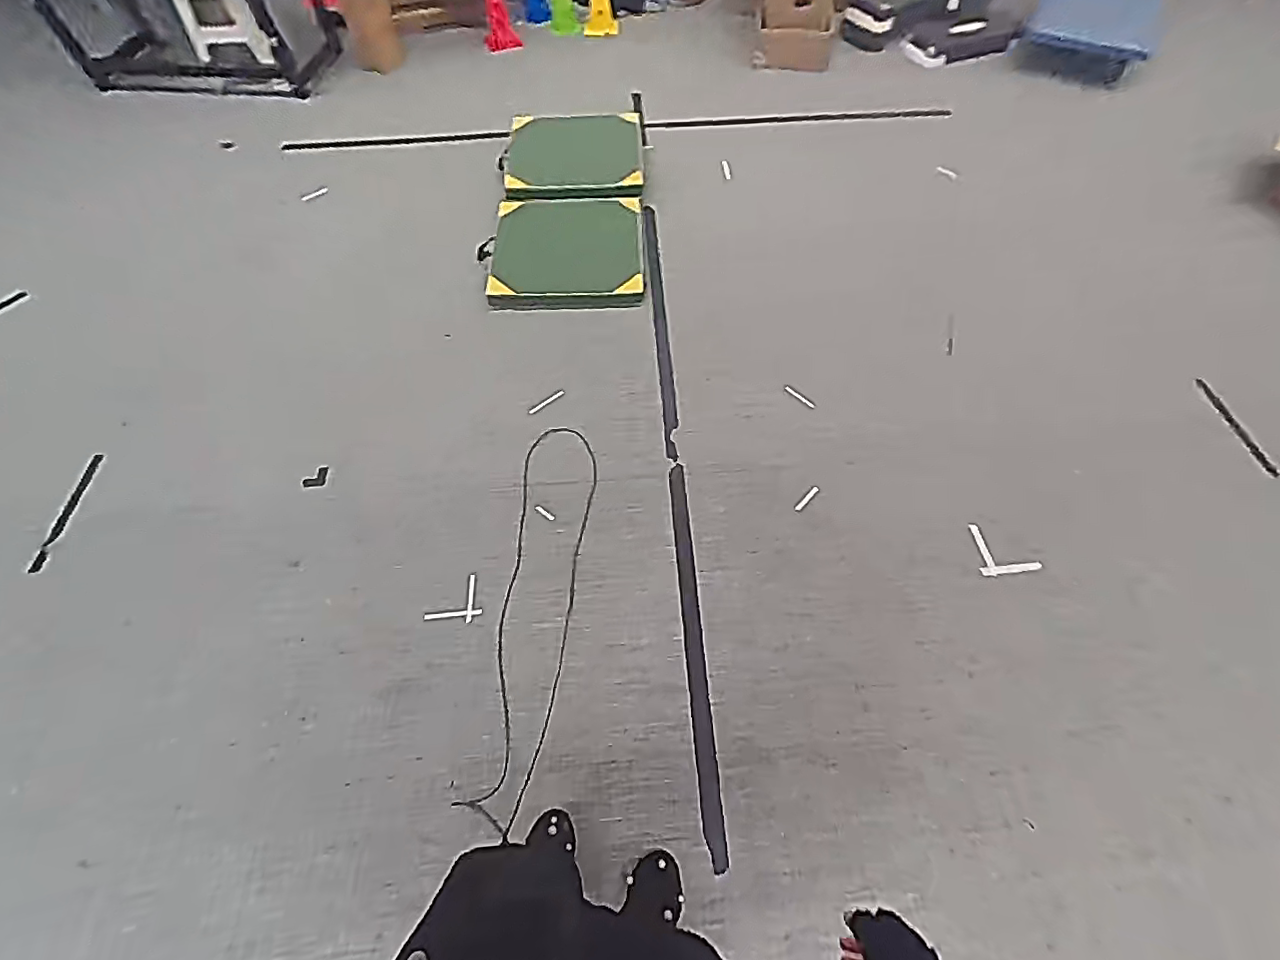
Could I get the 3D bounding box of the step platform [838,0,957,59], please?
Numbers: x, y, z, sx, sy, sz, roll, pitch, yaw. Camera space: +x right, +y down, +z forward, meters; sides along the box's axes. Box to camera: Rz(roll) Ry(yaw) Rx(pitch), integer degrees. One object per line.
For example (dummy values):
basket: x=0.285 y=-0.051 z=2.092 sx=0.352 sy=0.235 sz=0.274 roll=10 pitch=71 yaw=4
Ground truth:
step platform: x=1.518 y=-2.708 z=3.175 sx=0.684 sy=0.204 sz=0.286 roll=-29 pitch=64 yaw=-15
